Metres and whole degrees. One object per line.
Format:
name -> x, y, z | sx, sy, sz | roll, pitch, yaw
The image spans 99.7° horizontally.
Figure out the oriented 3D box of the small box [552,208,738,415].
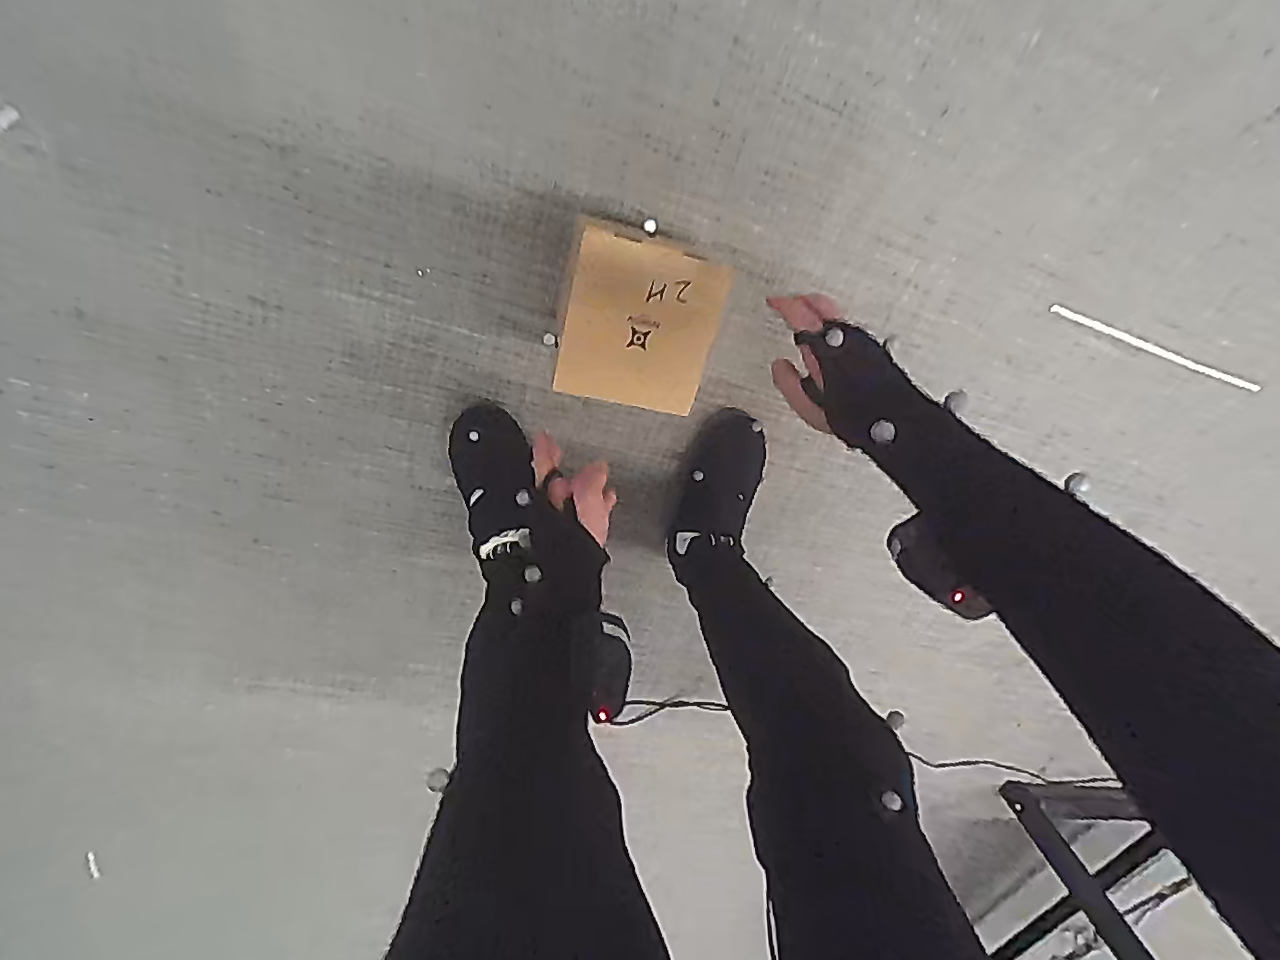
small box -> -0.008, -0.205, 0.649 | 0.168, 0.176, 0.179 | 9, 119, -16
